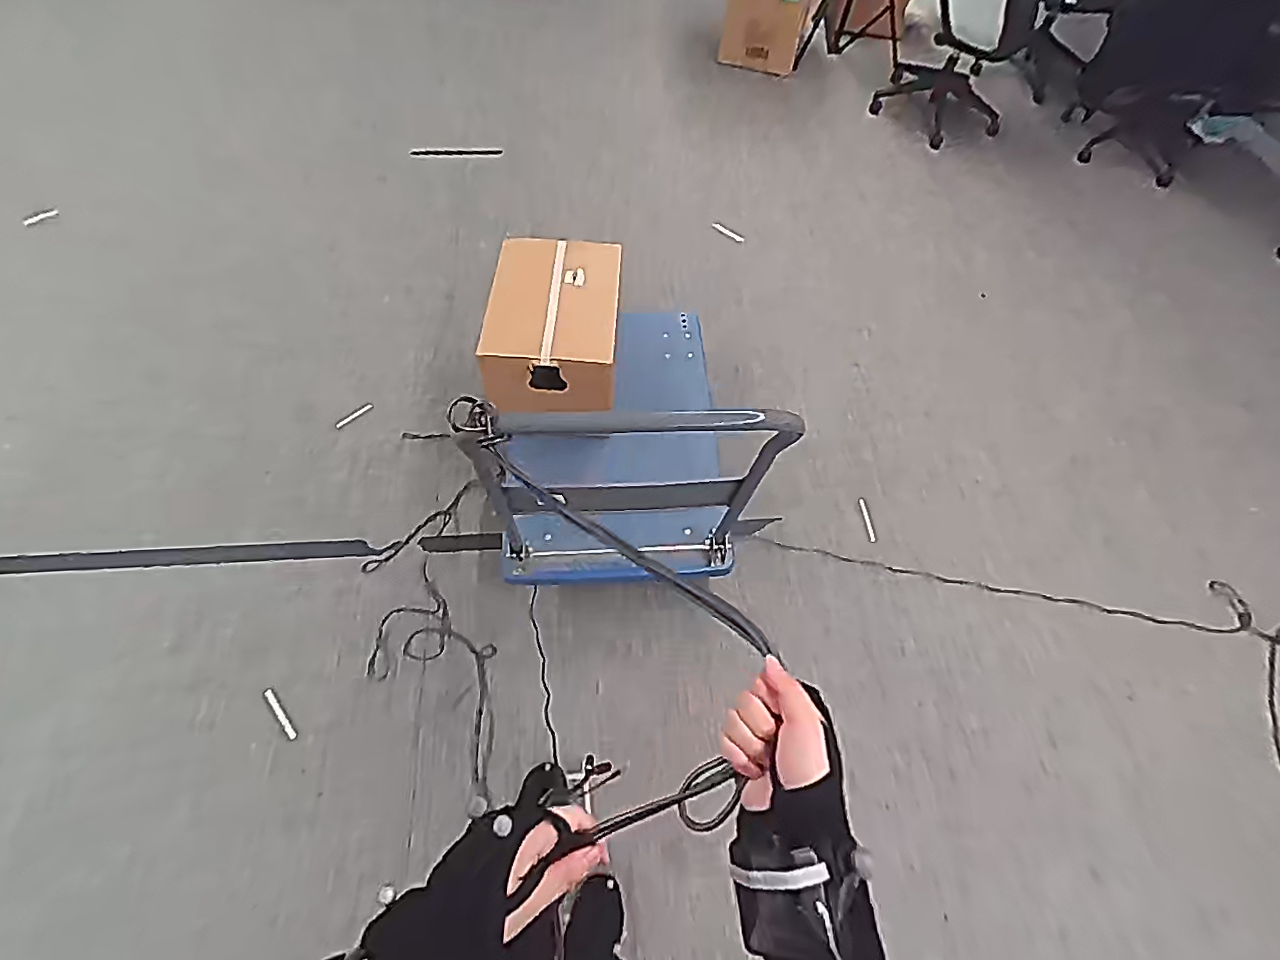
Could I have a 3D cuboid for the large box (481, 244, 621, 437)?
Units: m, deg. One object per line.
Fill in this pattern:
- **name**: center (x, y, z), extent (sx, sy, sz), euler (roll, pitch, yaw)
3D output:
- **large box**: center (-0.212, -0.363, 1.447), extent (0.320, 0.320, 0.408), euler (3, 61, -2)
